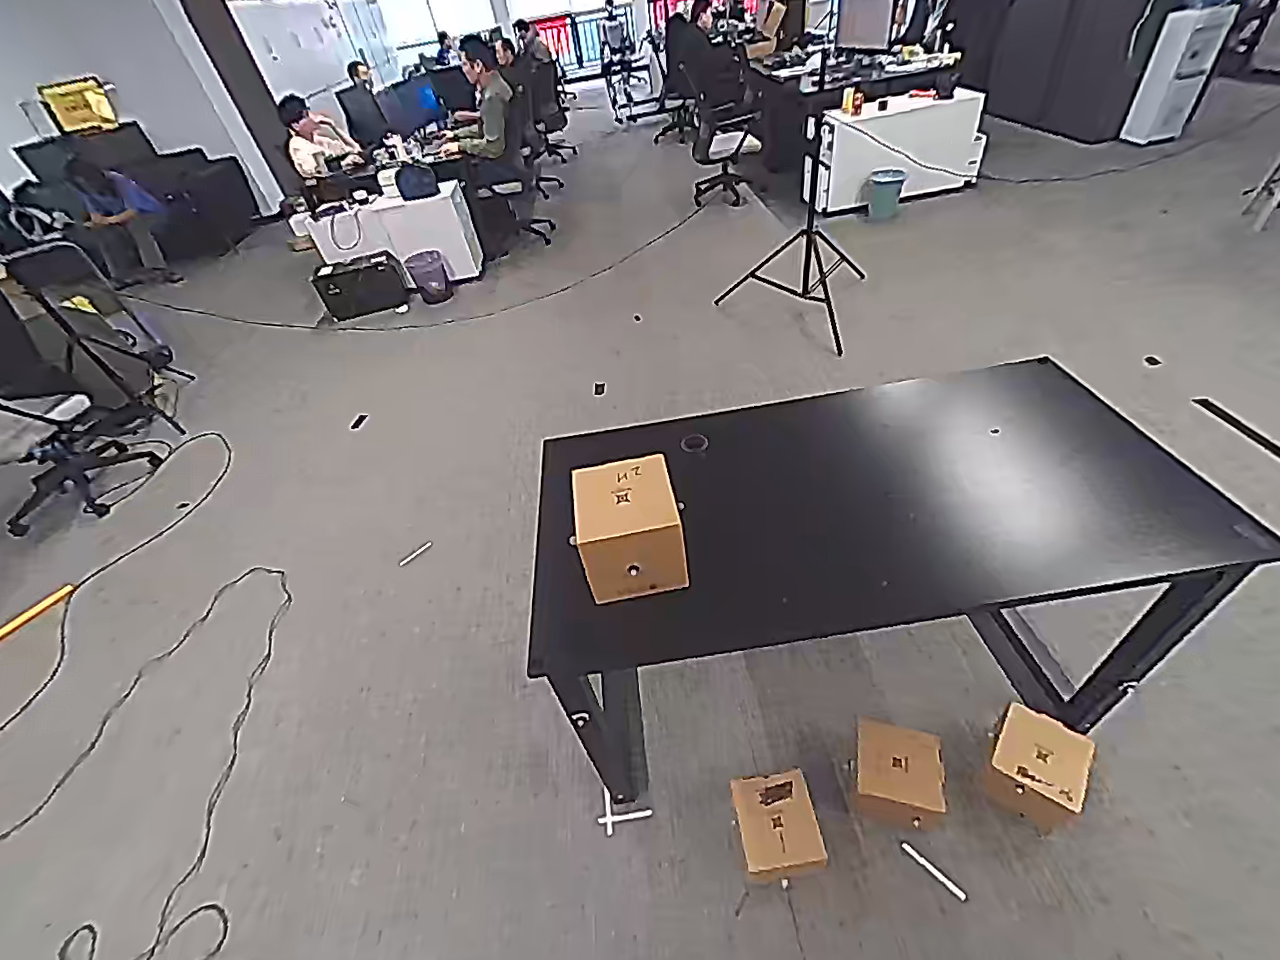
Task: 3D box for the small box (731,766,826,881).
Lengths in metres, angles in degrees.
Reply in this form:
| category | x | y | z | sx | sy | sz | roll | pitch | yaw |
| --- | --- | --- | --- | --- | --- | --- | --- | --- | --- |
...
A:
| category | x | y | z | sx | sy | sz | roll | pitch | yaw |
| --- | --- | --- | --- | --- | --- | --- | --- | --- | --- |
| small box | 0.304 | 0.778 | 1.223 | 0.168 | 0.176 | 0.179 | -10 | 45 | 1 |

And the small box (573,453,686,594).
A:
| category | x | y | z | sx | sy | sz | roll | pitch | yaw |
| --- | --- | --- | --- | --- | --- | --- | --- | --- | --- |
| small box | -0.017 | 0.082 | 0.949 | 0.168 | 0.176 | 0.179 | -11 | 43 | -1 |

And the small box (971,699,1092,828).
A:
| category | x | y | z | sx | sy | sz | roll | pitch | yaw |
| --- | --- | --- | --- | --- | --- | --- | --- | --- | --- |
| small box | 0.888 | 0.648 | 1.237 | 0.168 | 0.176 | 0.179 | 24 | 53 | 32 |

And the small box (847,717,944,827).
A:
| category | x | y | z | sx | sy | sz | roll | pitch | yaw |
| --- | --- | --- | --- | --- | --- | --- | --- | --- | --- |
| small box | 0.588 | 0.685 | 1.264 | 0.179 | 0.176 | 0.168 | 4 | 44 | 17 |
